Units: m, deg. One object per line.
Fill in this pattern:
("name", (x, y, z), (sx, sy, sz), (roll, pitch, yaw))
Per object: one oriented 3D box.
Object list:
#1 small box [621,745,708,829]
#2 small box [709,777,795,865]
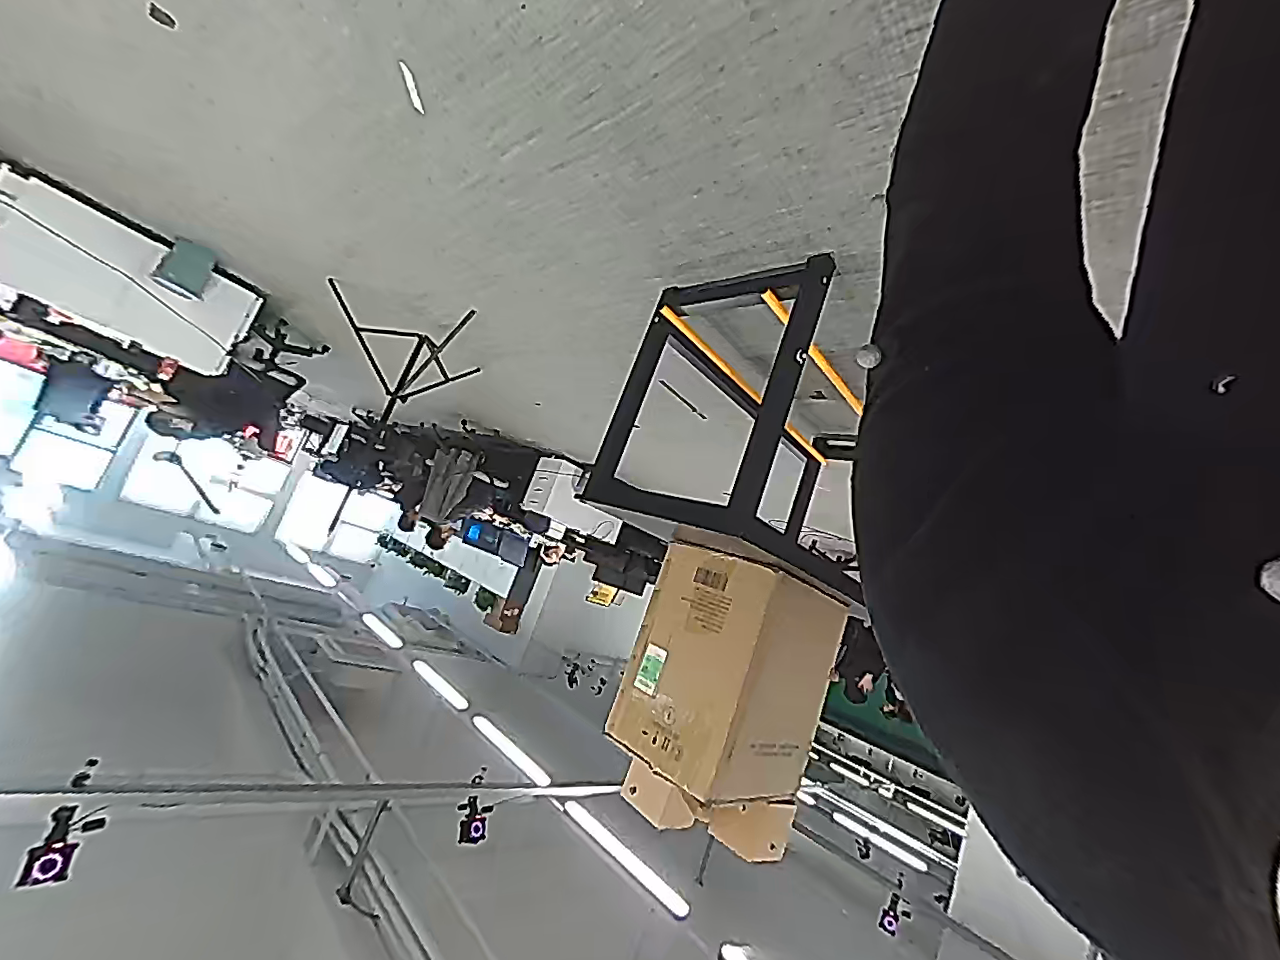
("small box", (0.079, 0.931, 1.656), (0.168, 0.176, 0.179), (28, 169, -40))
("small box", (0.346, 1.030, 1.645), (0.168, 0.176, 0.179), (7, 160, 48))
